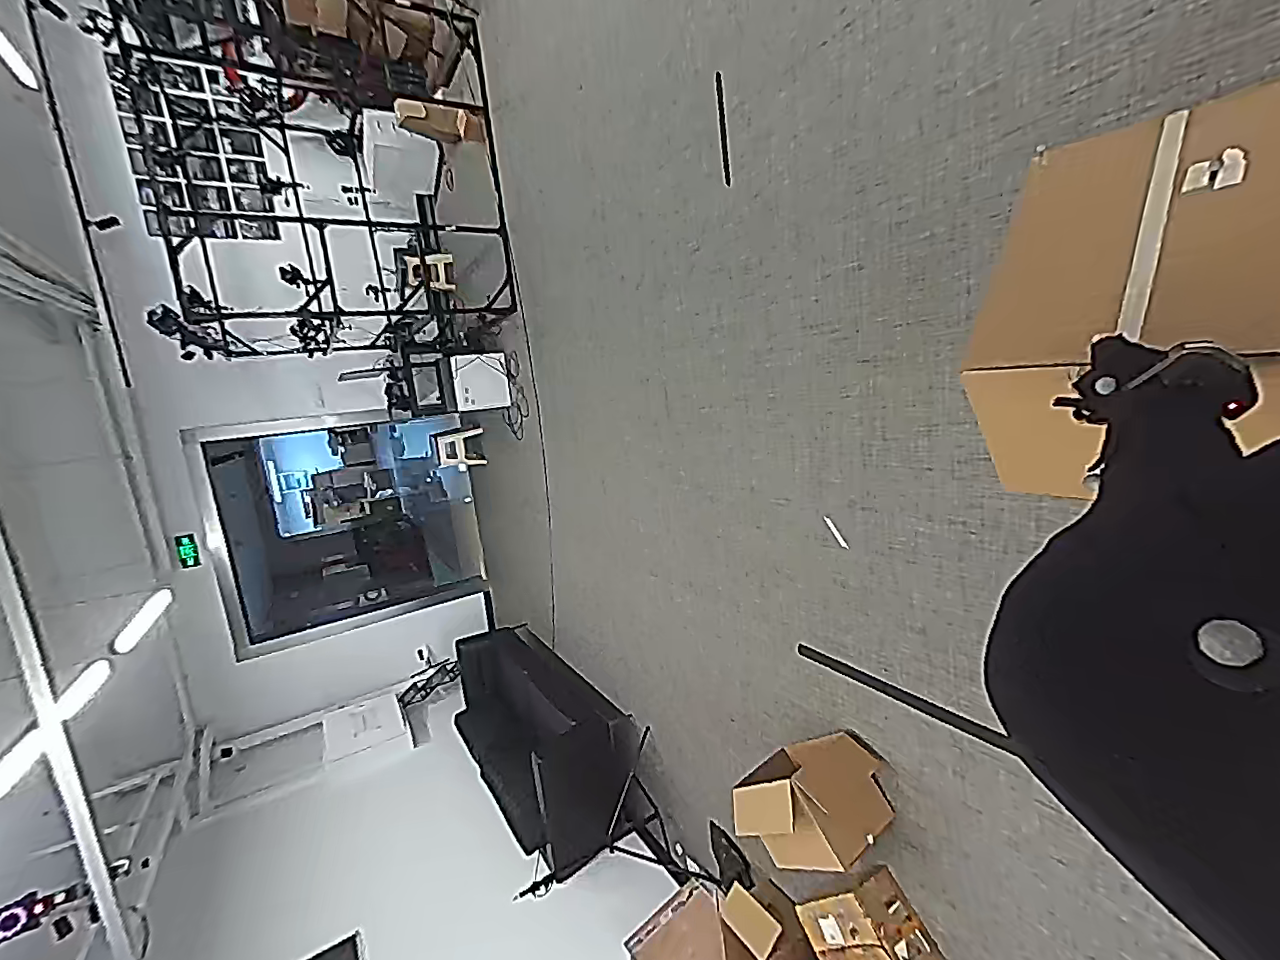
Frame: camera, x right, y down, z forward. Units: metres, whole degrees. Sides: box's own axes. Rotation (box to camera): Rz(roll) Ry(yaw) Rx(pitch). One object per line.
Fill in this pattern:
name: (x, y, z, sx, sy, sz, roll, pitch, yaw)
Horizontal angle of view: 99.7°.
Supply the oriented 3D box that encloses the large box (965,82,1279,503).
large box: (0.694, -0.222, 0.728, 0.320, 0.320, 0.408, 9, 66, 48)
